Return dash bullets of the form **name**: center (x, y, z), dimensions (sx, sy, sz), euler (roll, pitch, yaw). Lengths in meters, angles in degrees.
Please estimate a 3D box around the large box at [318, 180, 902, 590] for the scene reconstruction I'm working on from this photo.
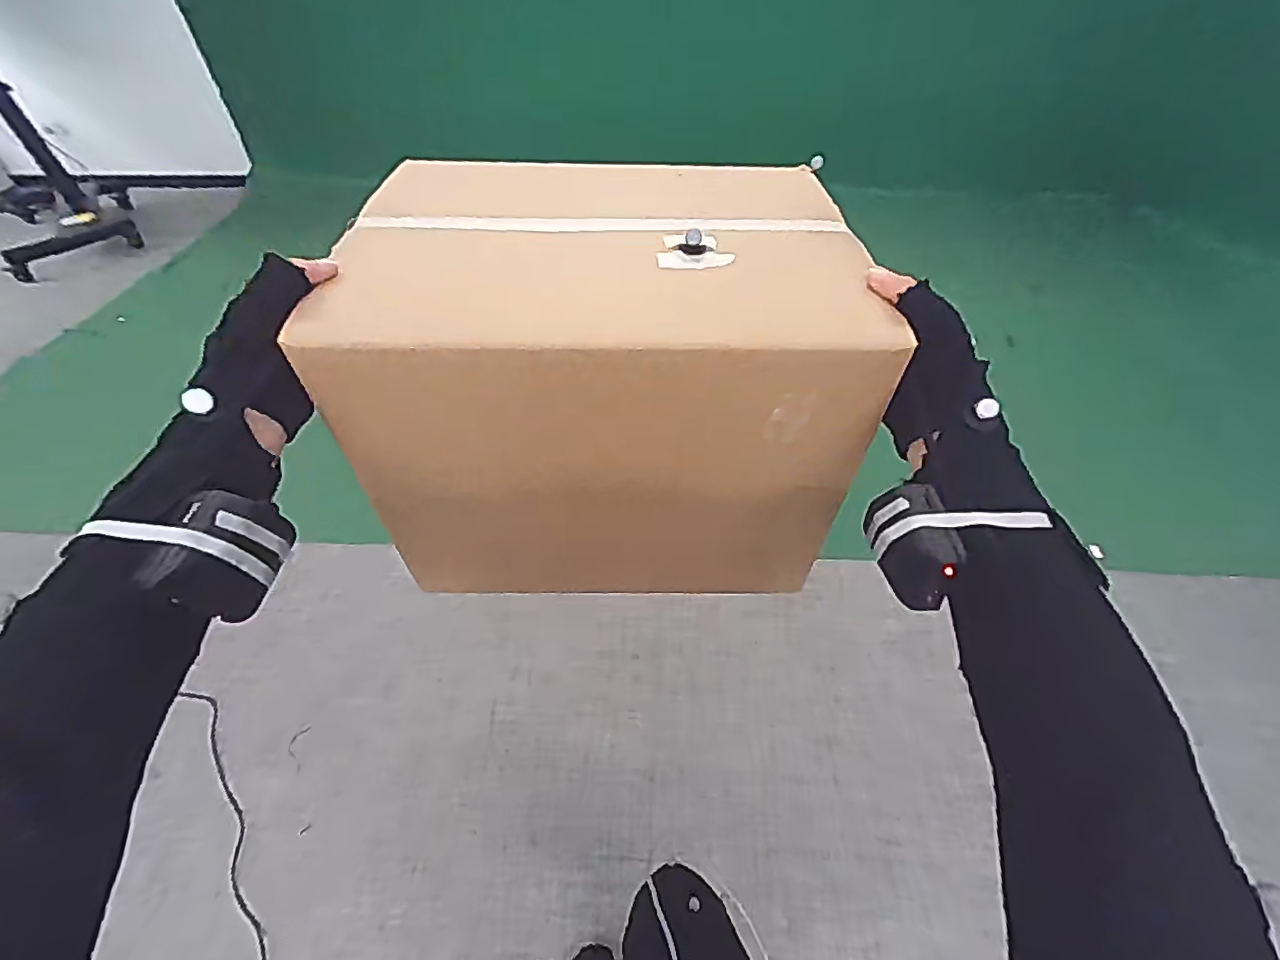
- **large box**: center (-0.026, -0.095, 0.570), dimensions (0.408, 0.320, 0.320), euler (0, 49, -2)
